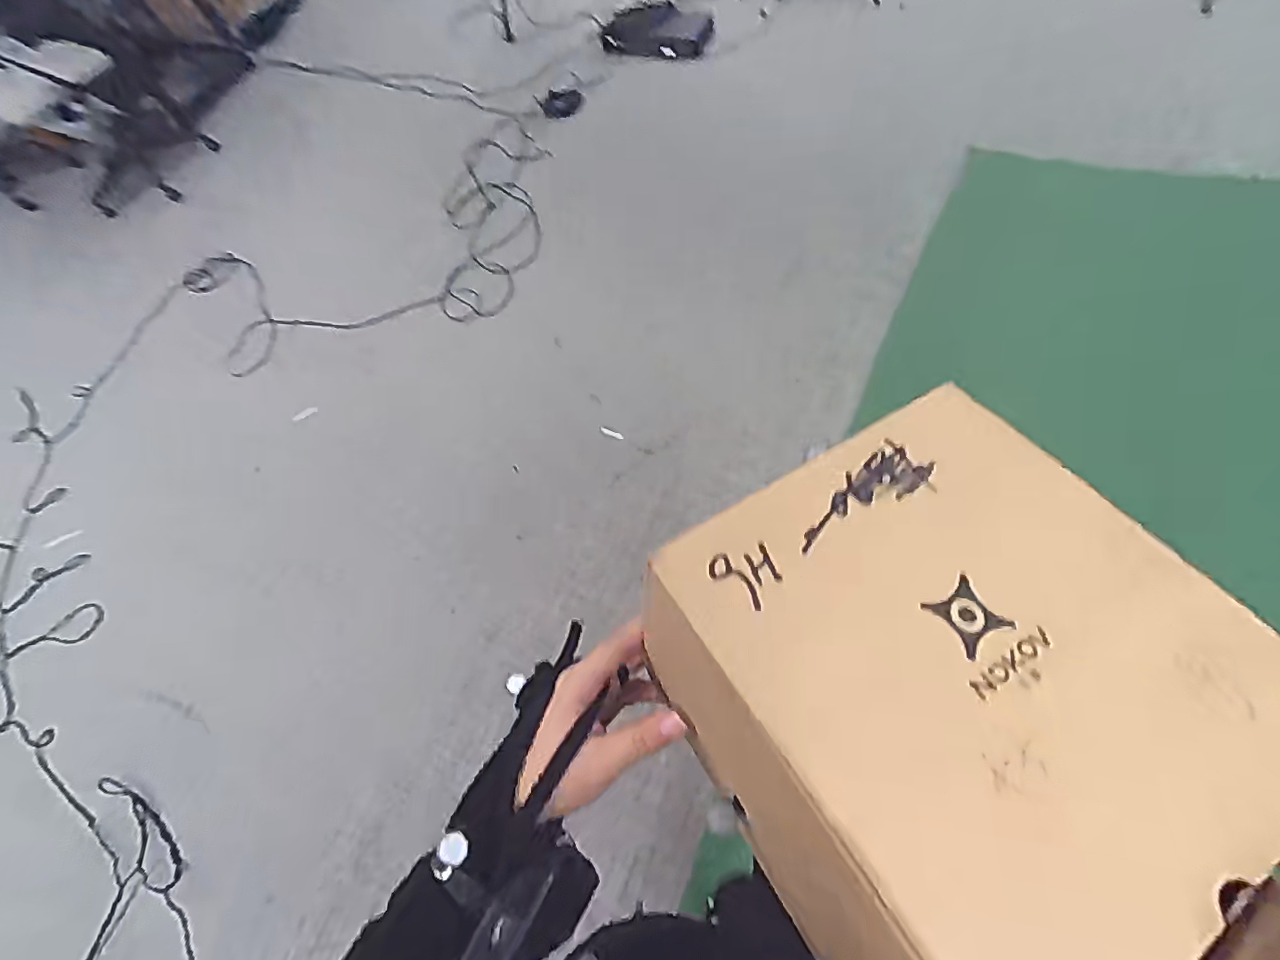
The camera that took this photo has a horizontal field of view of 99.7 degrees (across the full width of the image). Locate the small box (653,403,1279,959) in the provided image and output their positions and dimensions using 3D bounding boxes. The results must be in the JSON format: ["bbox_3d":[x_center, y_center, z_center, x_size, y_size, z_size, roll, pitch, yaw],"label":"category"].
[{"bbox_3d":[0.119,0.103,0.256,0.168,0.176,0.179,-27,61,-16],"label":"small box"}]
